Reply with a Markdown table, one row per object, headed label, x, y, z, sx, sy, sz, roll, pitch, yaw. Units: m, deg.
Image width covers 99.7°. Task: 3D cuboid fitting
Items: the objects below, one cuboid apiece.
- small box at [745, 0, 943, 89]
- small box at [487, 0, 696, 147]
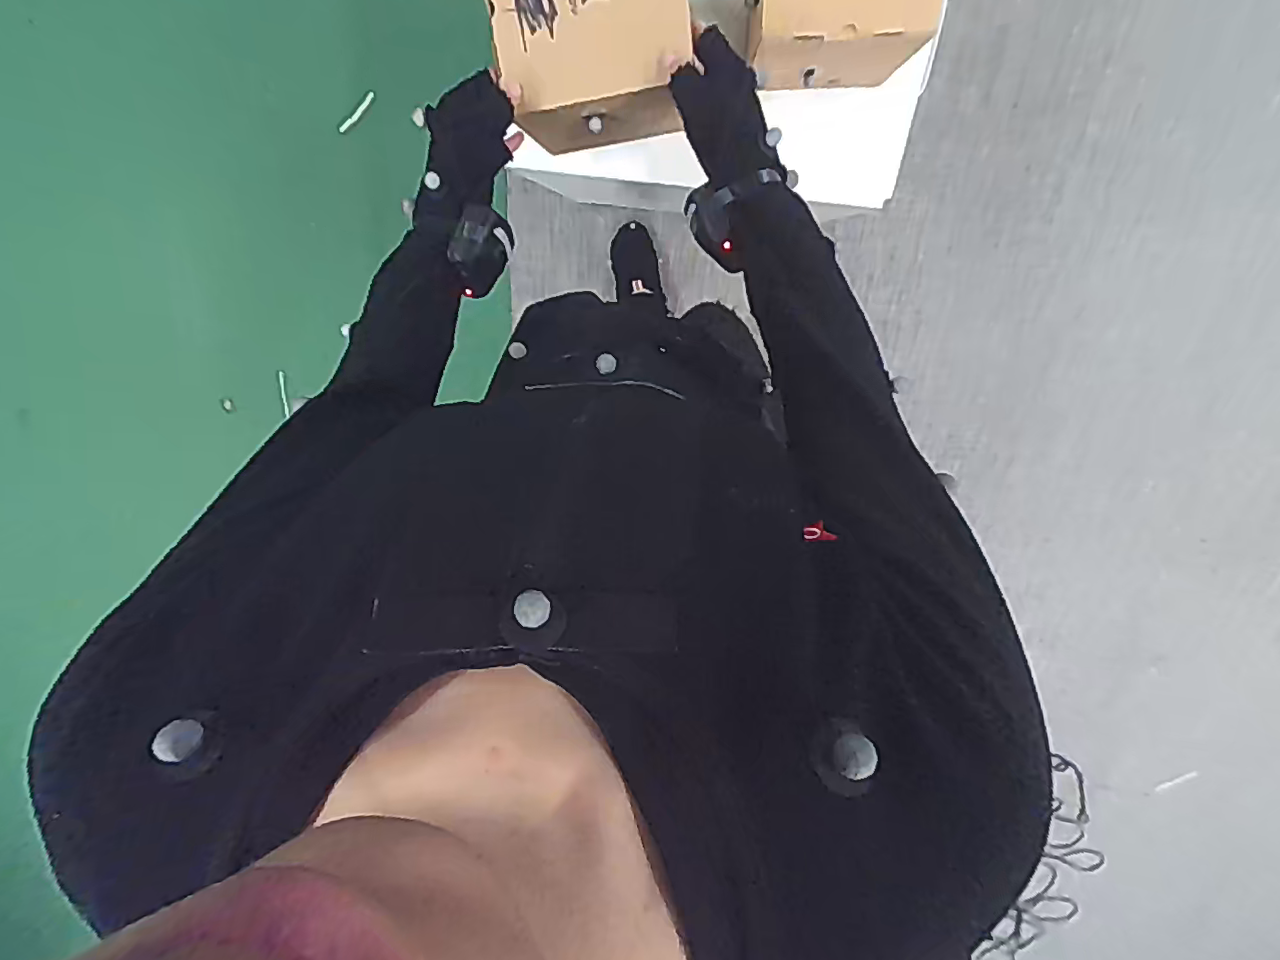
| label | x | y | z | sx | sy | sz | roll | pitch | yaw |
| --- | --- | --- | --- | --- | --- | --- | --- | --- | --- |
| small box | 0.201 | -0.527 | 0.549 | 0.168 | 0.176 | 0.179 | 1 | 113 | 5 |
| small box | -0.039 | -0.448 | 0.531 | 0.179 | 0.176 | 0.168 | -5 | 110 | 8 |
